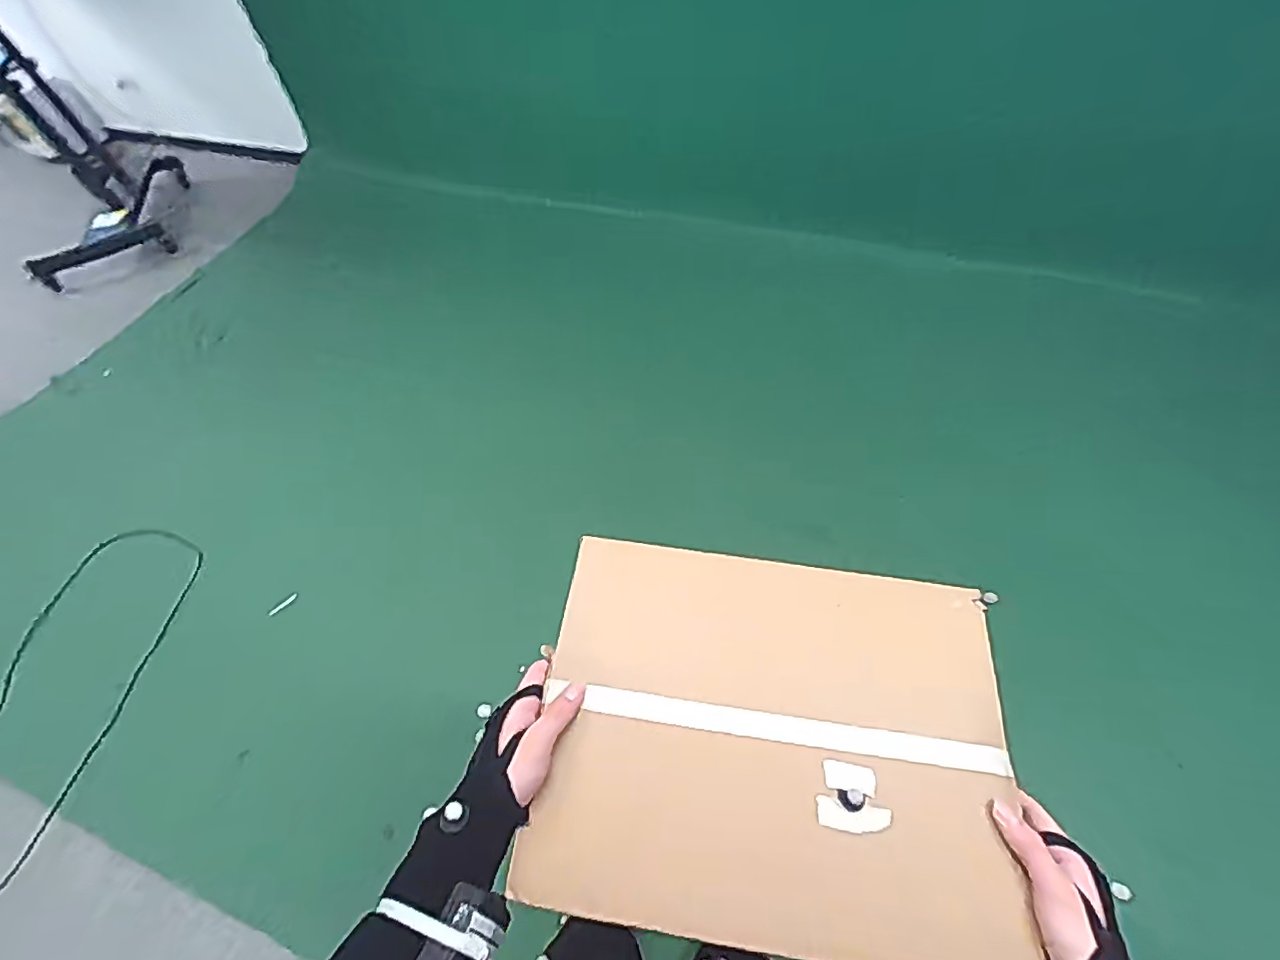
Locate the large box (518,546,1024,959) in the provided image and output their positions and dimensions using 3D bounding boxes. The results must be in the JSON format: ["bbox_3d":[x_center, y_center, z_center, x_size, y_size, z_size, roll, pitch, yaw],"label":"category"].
[{"bbox_3d":[0.113,0.297,0.623,0.408,0.320,0.320,7,60,4],"label":"large box"}]
